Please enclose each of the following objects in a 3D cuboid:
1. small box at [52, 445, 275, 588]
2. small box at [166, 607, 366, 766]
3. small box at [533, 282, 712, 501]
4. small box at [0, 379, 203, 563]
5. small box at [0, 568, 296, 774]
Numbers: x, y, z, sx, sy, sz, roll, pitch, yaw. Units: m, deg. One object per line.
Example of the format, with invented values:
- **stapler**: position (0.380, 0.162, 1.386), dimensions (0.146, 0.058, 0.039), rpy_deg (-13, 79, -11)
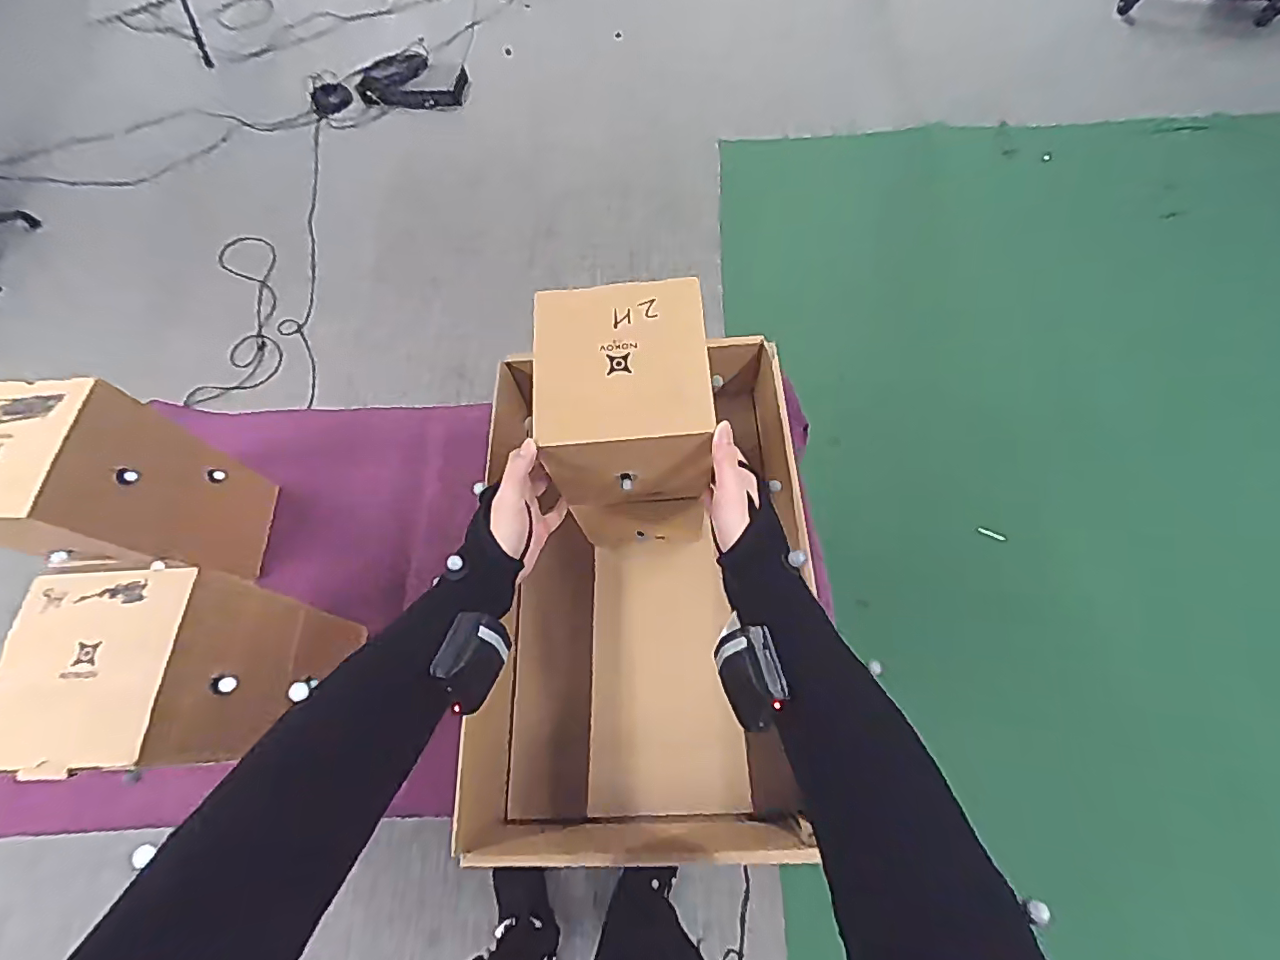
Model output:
- **small box**: position (-0.696, 0.066, 0.818), dimensions (0.168, 0.176, 0.179), rpy_deg (-4, 65, 2)
- **small box**: position (-0.490, 0.272, 0.709), dimensions (0.168, 0.176, 0.179), rpy_deg (-2, 63, 2)
- **small box**: position (-0.013, -0.083, 0.584), dimensions (0.168, 0.176, 0.179), rpy_deg (-4, 67, 2)
- **small box**: position (-0.699, -0.006, 0.669), dimensions (0.168, 0.176, 0.179), rpy_deg (0, 66, 4)
- **small box**: position (-0.499, 0.199, 0.562), dimensions (0.168, 0.176, 0.179), rpy_deg (-2, 65, 2)
